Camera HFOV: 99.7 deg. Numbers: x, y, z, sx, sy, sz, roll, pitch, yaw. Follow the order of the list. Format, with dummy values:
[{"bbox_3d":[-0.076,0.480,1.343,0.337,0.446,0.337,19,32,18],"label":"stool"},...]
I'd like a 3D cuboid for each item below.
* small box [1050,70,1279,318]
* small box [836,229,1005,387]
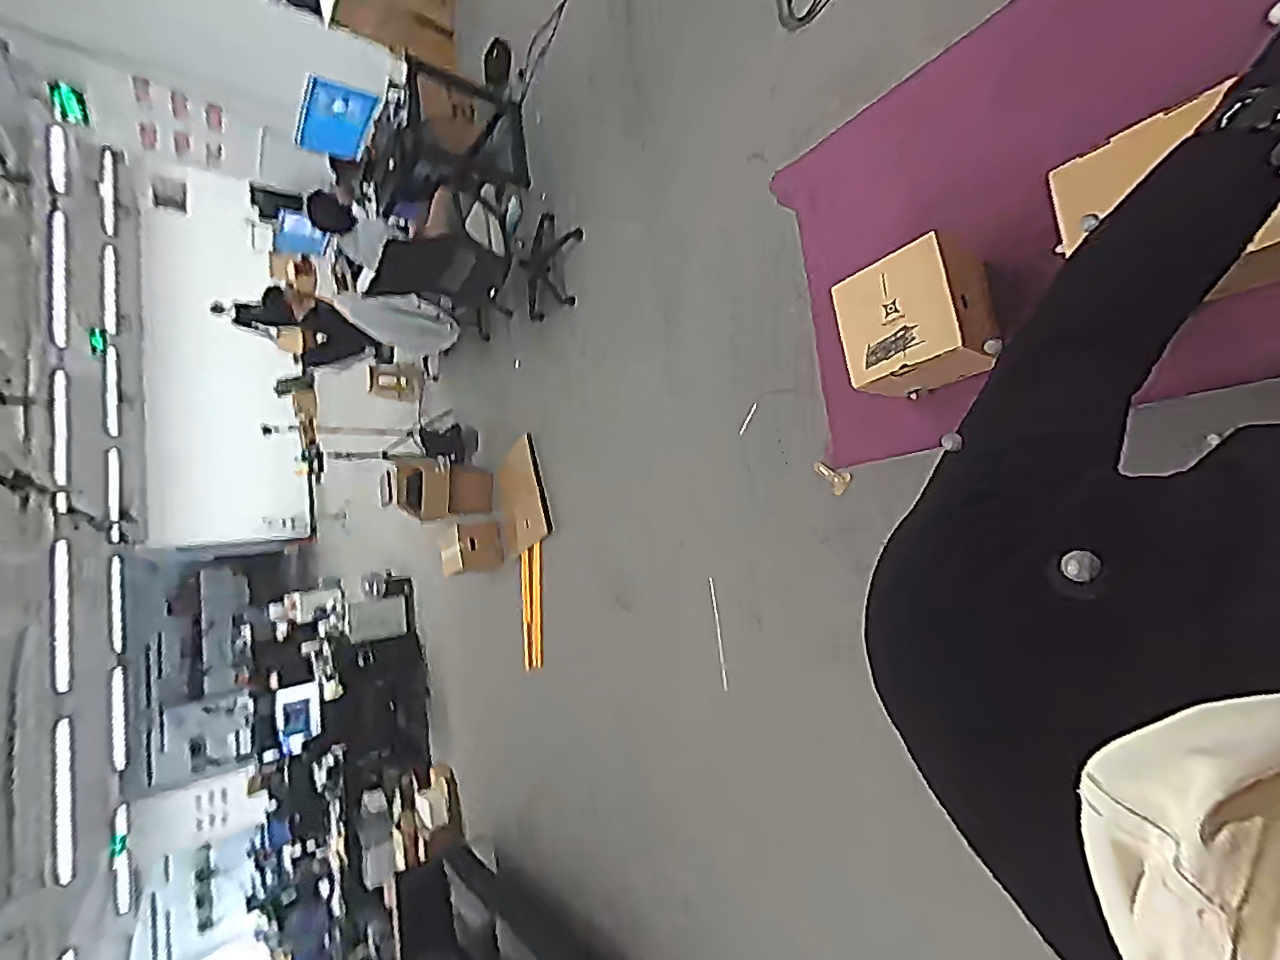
[{"bbox_3d":[0.618,-0.310,0.633,0.168,0.176,0.179,-15,80,52],"label":"small box"},{"bbox_3d":[0.443,-0.255,0.854,0.168,0.176,0.179,-20,74,50],"label":"small box"}]
